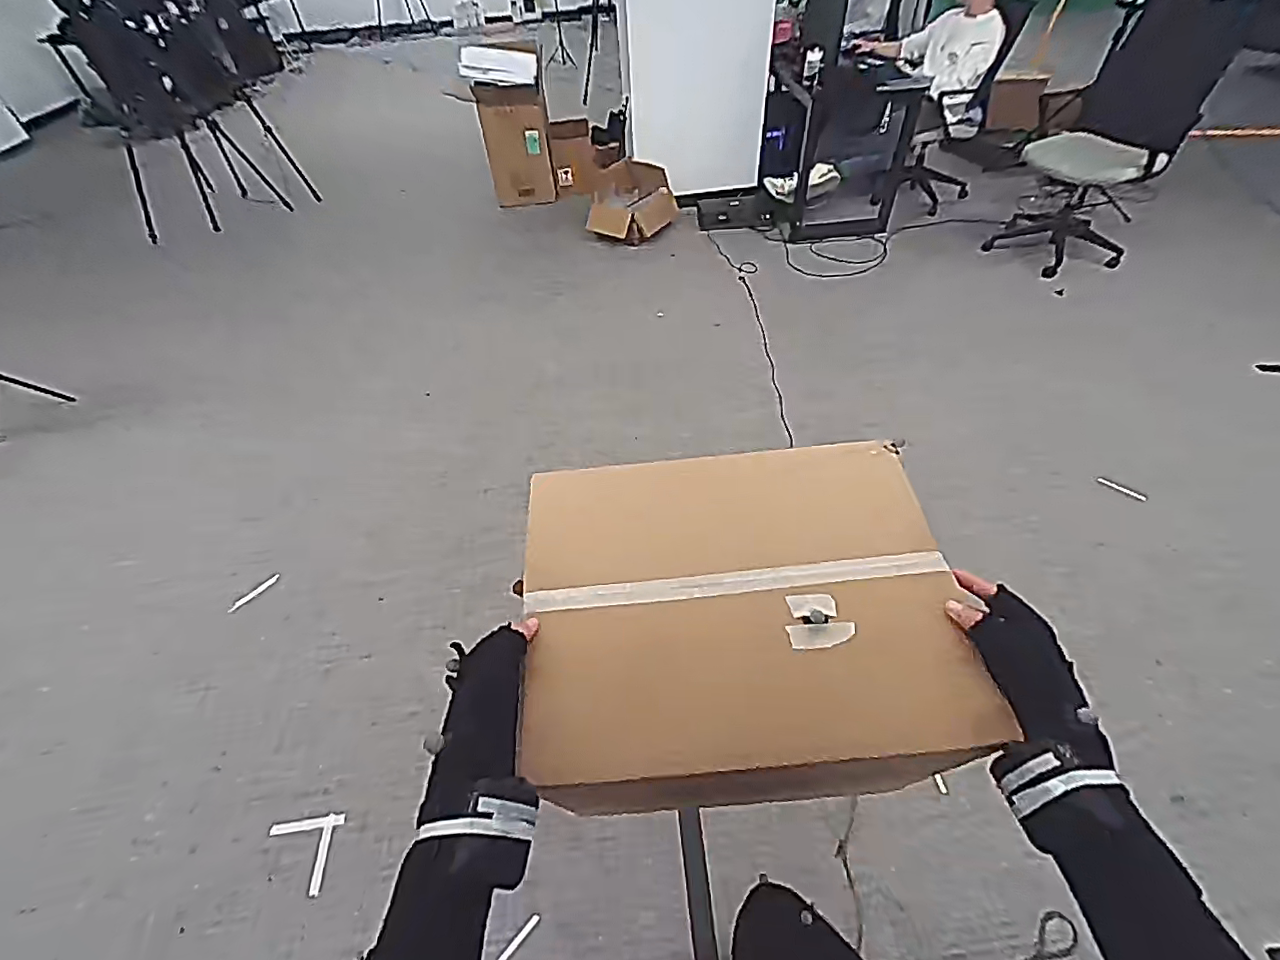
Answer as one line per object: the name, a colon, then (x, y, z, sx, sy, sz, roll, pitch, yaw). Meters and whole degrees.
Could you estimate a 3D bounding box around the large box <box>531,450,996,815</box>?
large box: (0.100, 0.196, 0.658, 0.408, 0.320, 0.320, -6, 55, 0)
